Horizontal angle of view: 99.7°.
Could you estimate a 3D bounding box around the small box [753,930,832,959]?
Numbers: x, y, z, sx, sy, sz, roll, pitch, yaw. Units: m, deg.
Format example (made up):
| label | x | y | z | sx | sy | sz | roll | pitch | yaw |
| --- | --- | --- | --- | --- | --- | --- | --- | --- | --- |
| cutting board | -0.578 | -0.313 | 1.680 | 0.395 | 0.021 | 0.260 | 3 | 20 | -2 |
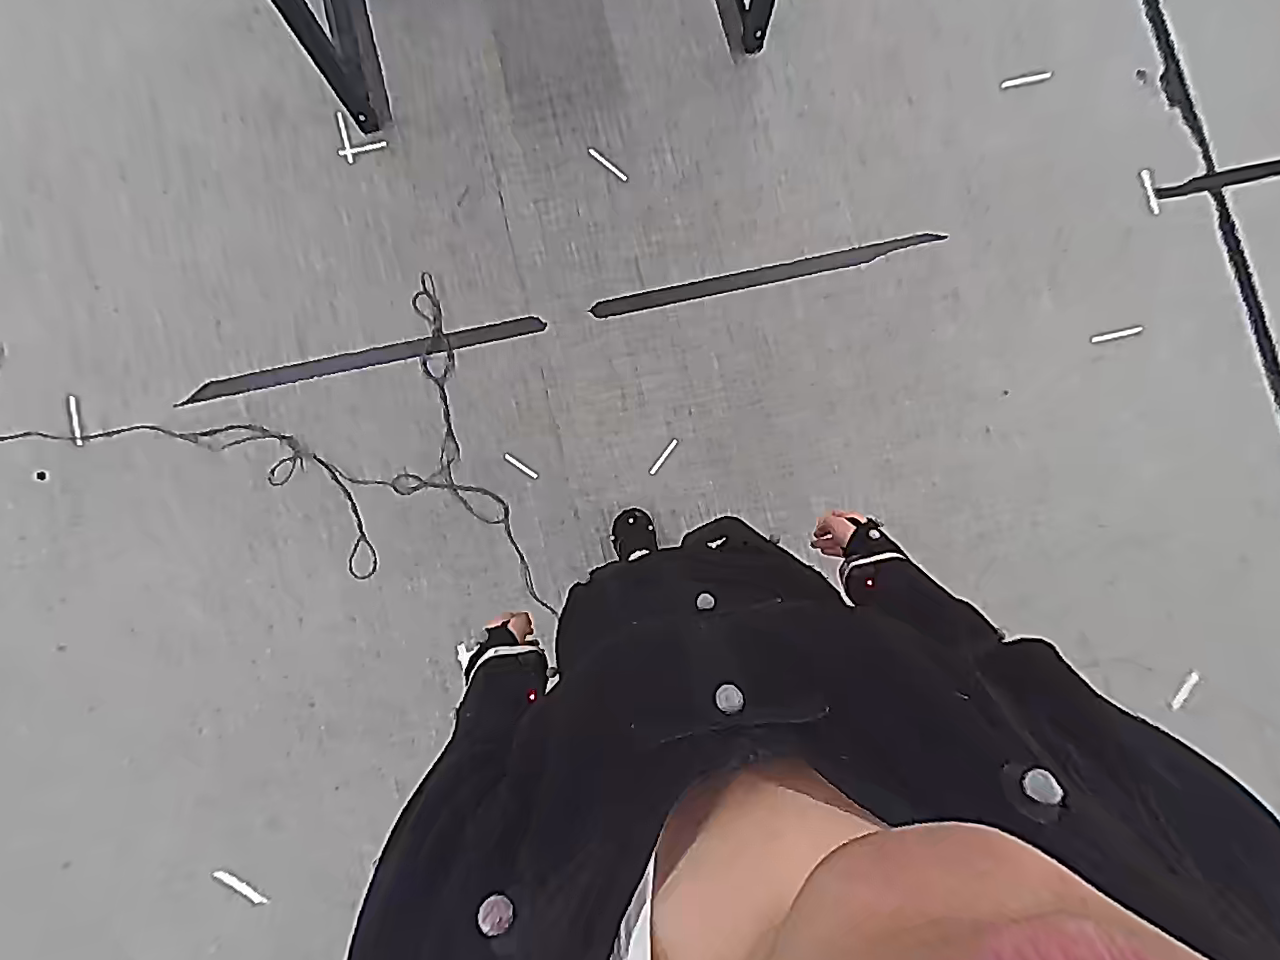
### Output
| label | x | y | z | sx | sy | sz | roll | pitch | yaw |
| --- | --- | --- | --- | --- | --- | --- | --- | --- | --- |
| small box | 0.360 | 1.163 | 1.203 | 0.179 | 0.176 | 0.168 | -13 | 88 | -2 |
